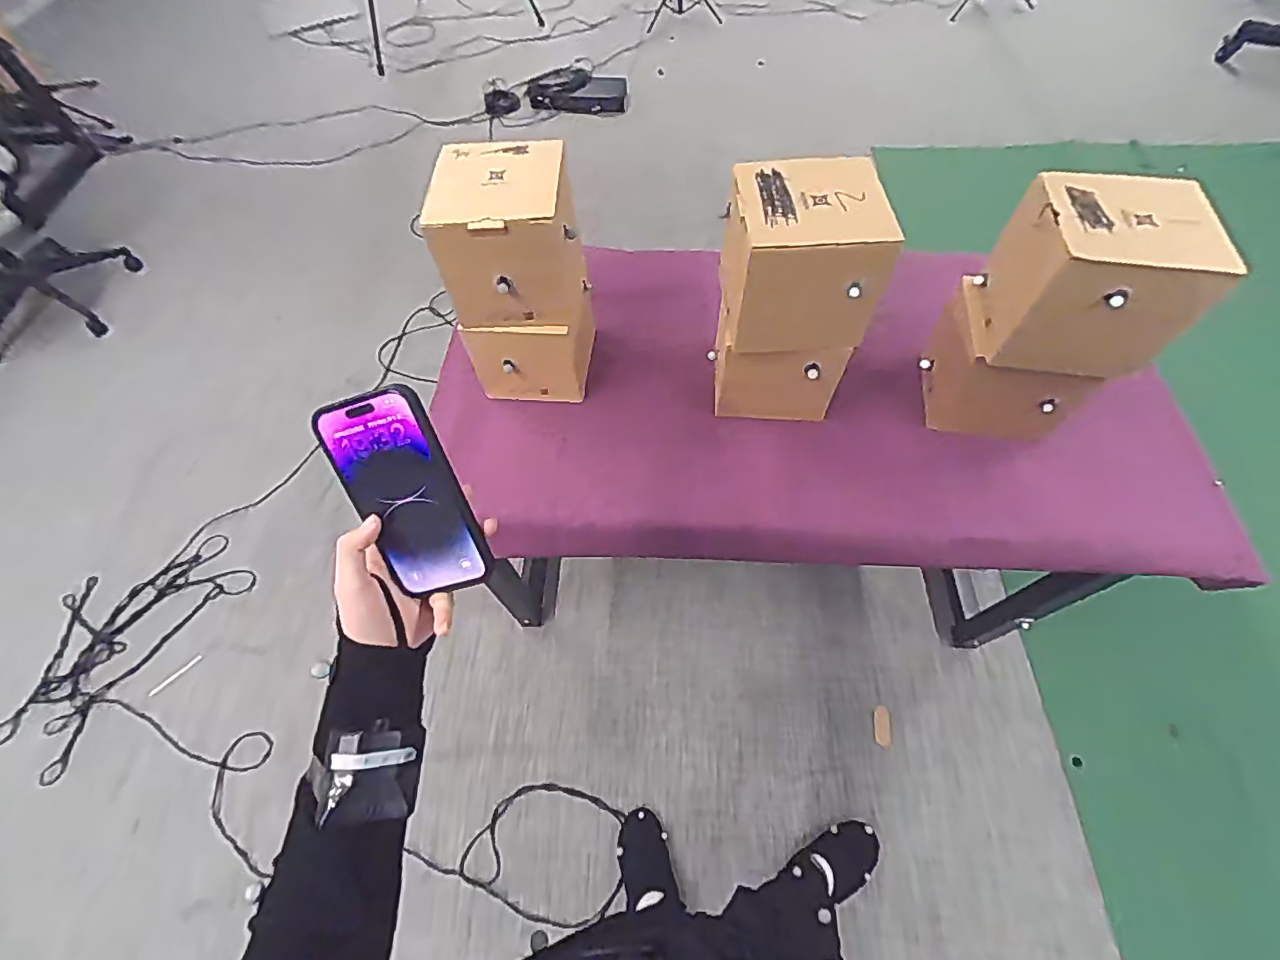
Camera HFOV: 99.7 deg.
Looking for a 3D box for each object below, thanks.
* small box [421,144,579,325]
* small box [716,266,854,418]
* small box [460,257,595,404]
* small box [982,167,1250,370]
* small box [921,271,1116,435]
[{"bbox_3d":[-0.180,-0.333,0.755,0.168,0.176,0.179,-2,60,2],"label":"small box"},{"bbox_3d":[0.215,-0.210,0.849,0.179,0.176,0.168,2,59,5],"label":"small box"},{"bbox_3d":[-0.172,-0.242,0.892,0.168,0.176,0.179,3,60,5],"label":"small box"},{"bbox_3d":[0.553,-0.255,0.668,0.179,0.176,0.168,8,60,7],"label":"small box"},{"bbox_3d":[0.553,-0.185,0.816,0.179,0.176,0.168,8,60,8],"label":"small box"}]
